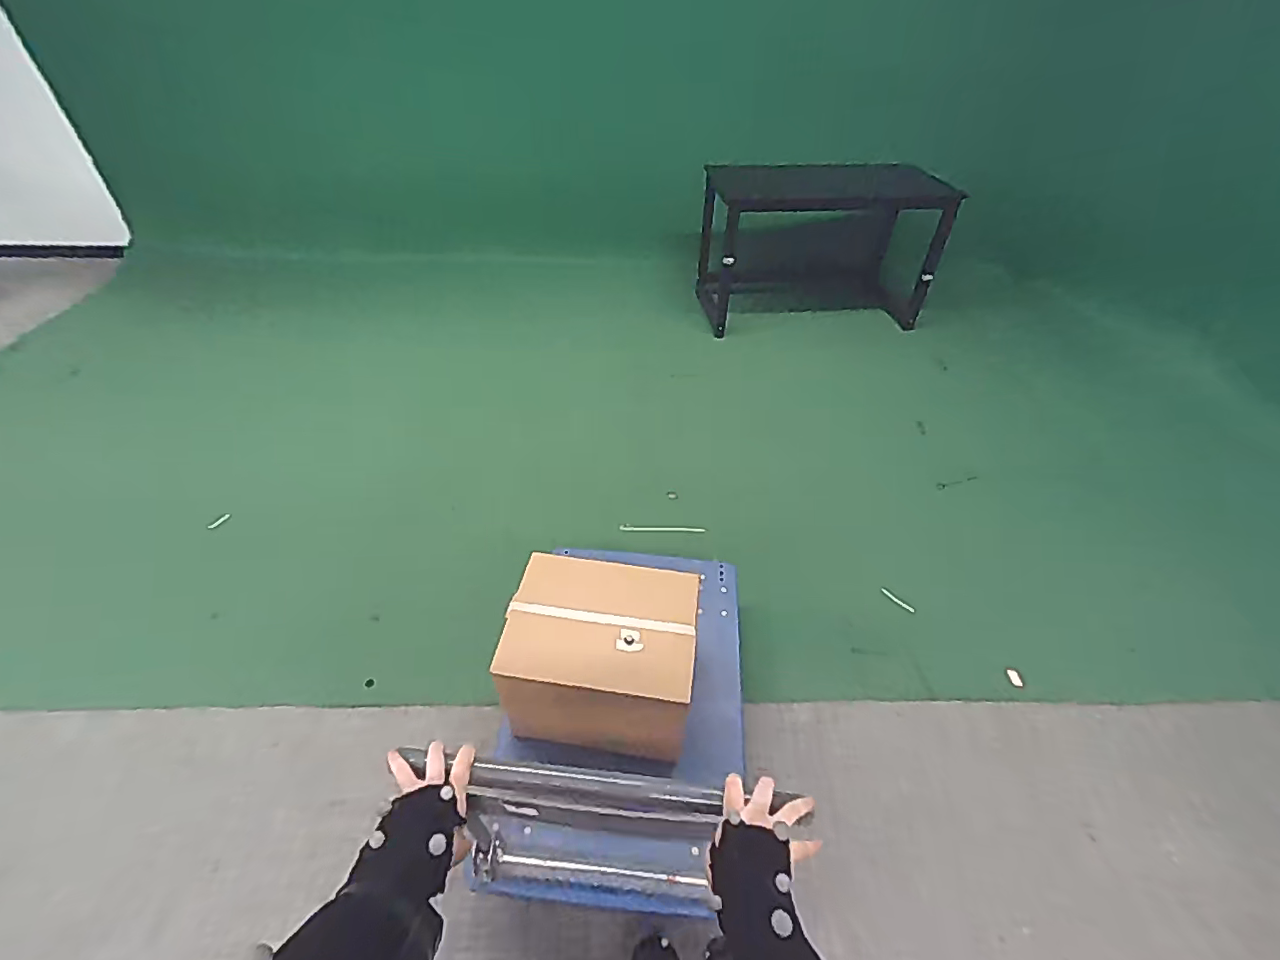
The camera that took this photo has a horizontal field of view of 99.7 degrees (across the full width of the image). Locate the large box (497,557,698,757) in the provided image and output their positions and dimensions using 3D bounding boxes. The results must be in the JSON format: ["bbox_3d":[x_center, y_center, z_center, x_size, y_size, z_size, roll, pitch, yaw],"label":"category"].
[{"bbox_3d":[-0.086,0.420,1.290,0.408,0.320,0.320,7,43,4],"label":"large box"}]
